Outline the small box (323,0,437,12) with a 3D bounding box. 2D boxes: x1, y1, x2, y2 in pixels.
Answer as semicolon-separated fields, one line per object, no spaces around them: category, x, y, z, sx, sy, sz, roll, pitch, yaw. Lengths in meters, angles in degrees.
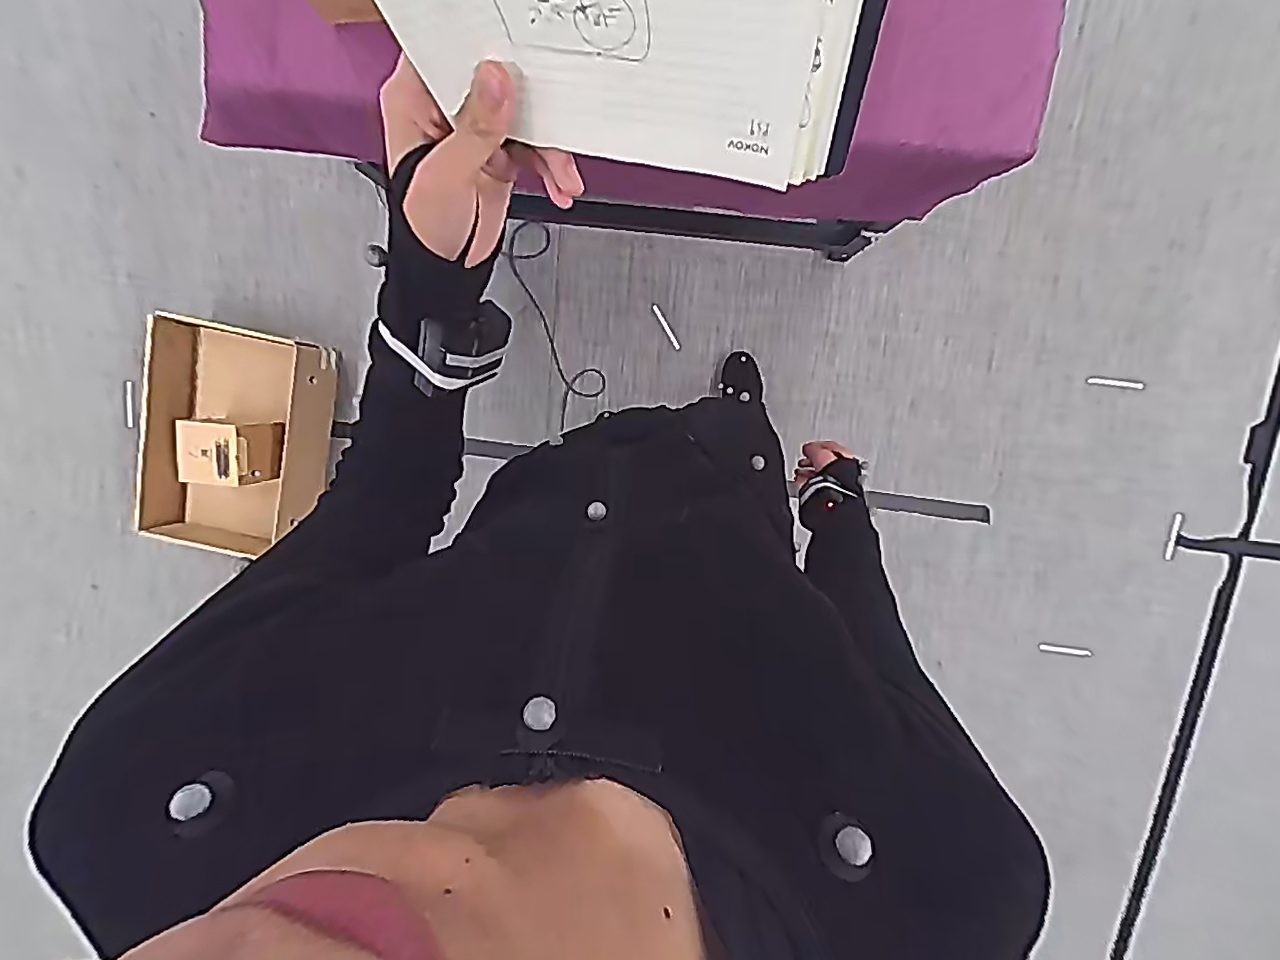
small box;-0.370;-0.736;0.682;0.168;0.176;0.179;-1;99;2
